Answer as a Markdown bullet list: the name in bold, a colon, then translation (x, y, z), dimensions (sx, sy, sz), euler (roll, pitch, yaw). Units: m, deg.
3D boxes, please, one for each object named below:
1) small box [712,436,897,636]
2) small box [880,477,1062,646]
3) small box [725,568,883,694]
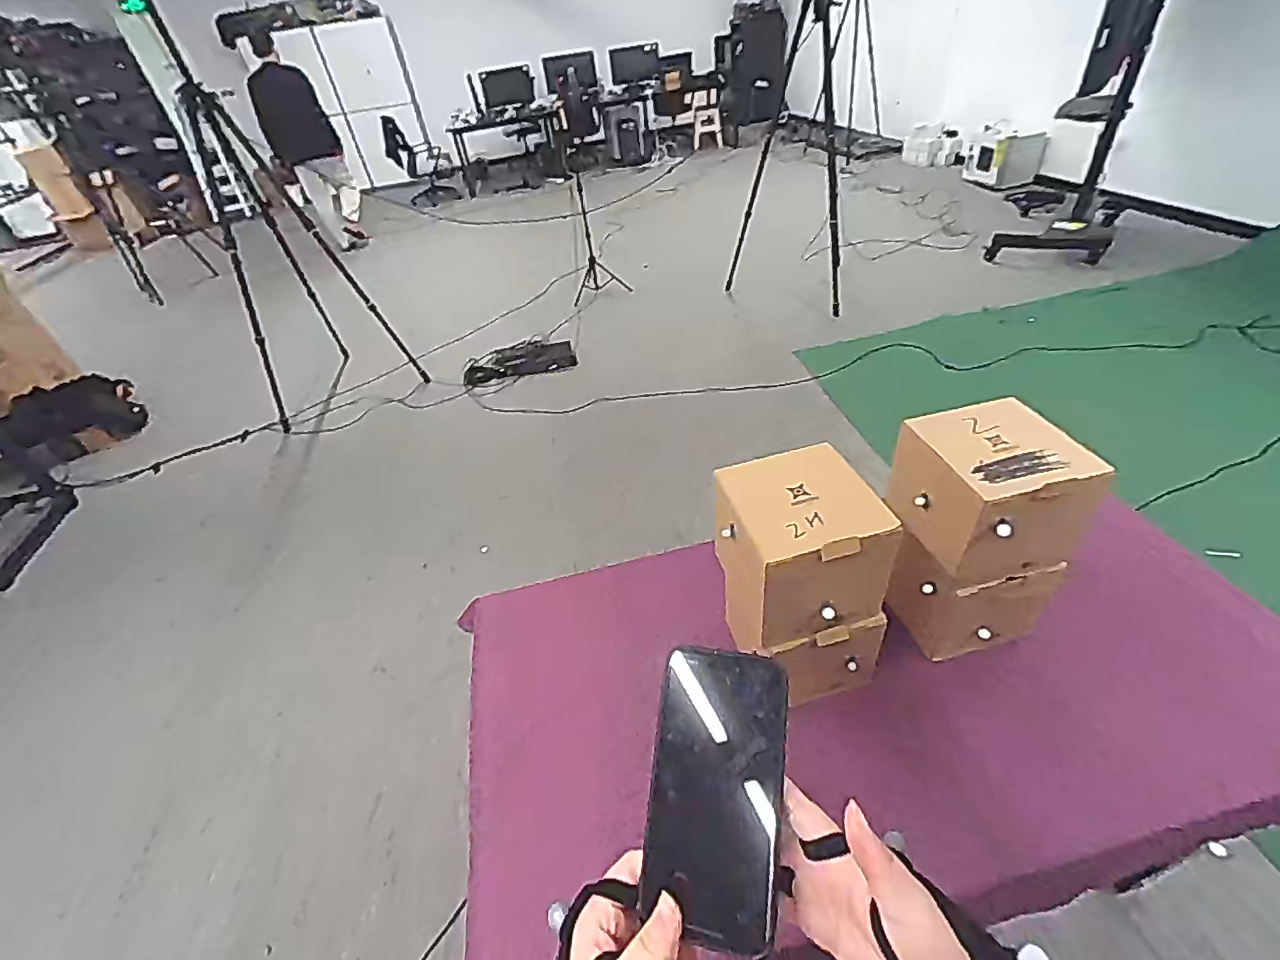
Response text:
- **small box**: translation (0.201, 0.072, 0.712), dimensions (0.168, 0.176, 0.179), euler (-15, 41, -6)
- **small box**: translation (0.488, 0.126, 0.843), dimensions (0.168, 0.176, 0.179), euler (-14, 42, -5)
- **small box**: translation (0.234, 0.198, 0.814), dimensions (0.168, 0.176, 0.179), euler (-14, 41, -6)
